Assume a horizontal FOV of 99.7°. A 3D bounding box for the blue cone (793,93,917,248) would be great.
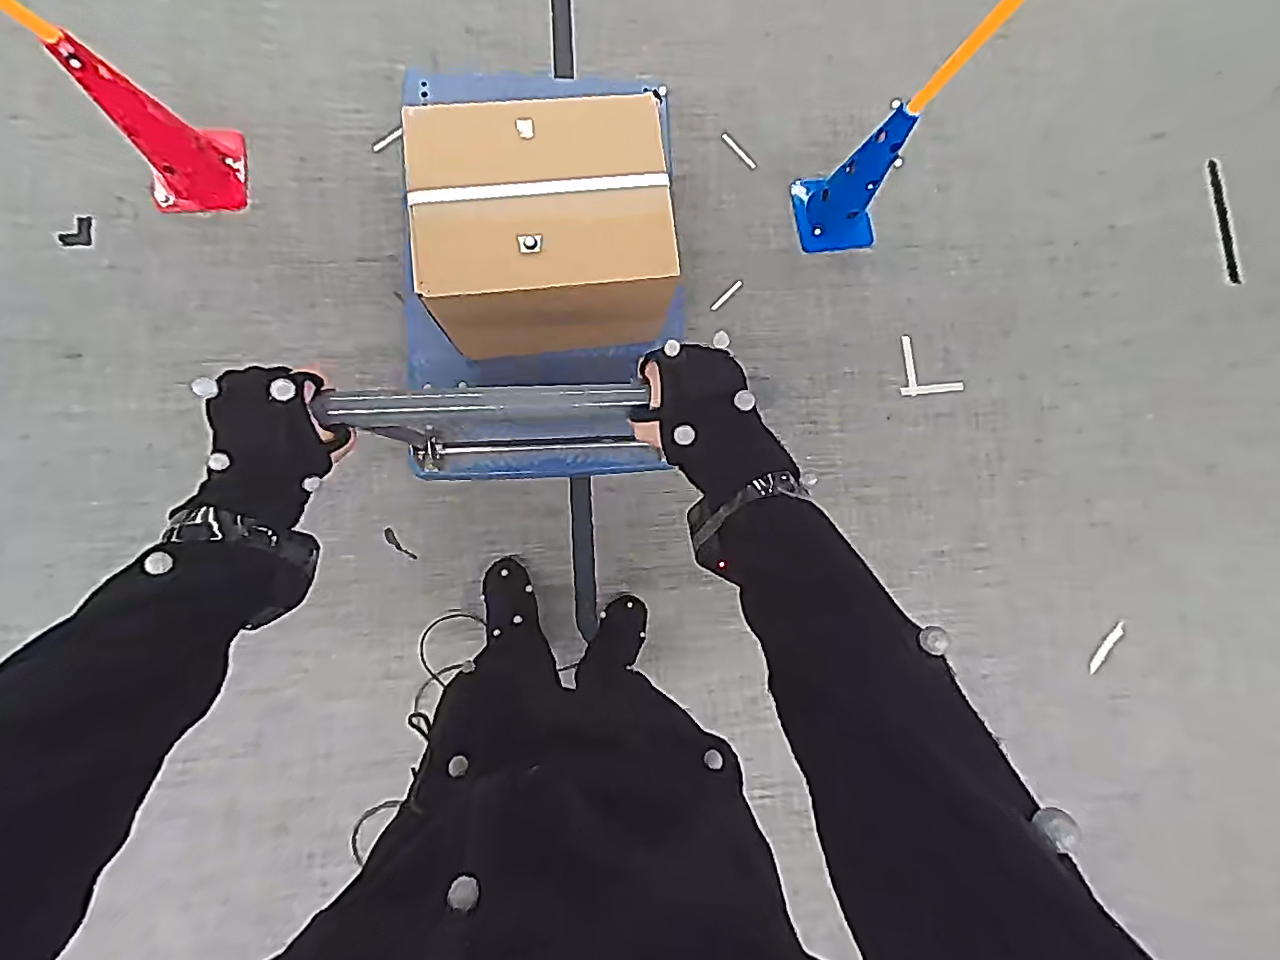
[{"bbox_3d":[0.517,-0.719,1.250,0.193,0.380,0.192,-8,84,-6],"label":"blue cone"}]
